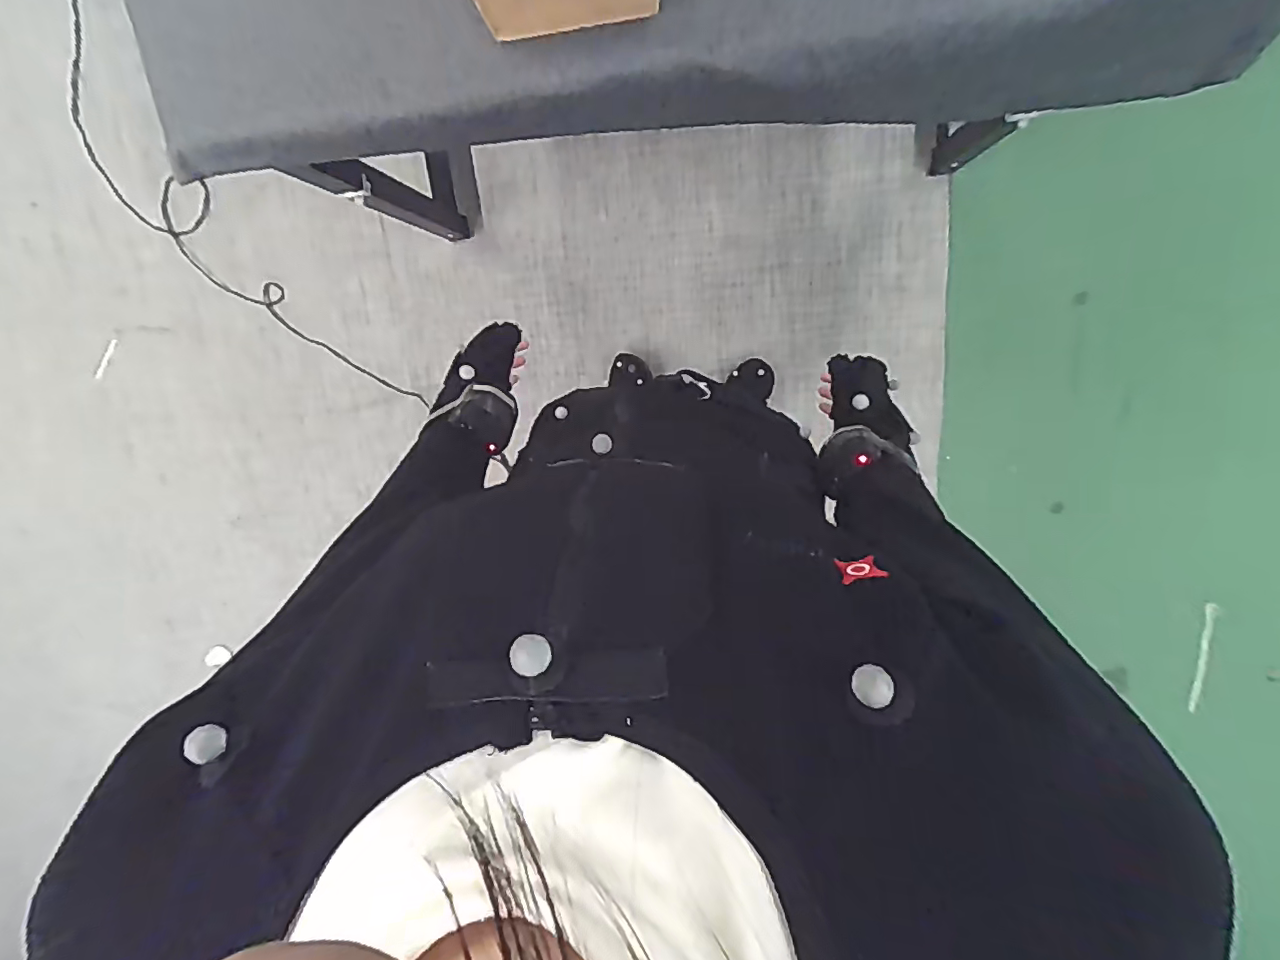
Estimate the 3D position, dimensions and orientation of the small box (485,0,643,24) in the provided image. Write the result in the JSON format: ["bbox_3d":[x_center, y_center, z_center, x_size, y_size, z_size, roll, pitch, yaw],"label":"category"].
[{"bbox_3d":[-0.082,-0.545,0.472,0.179,0.176,0.168,-4,103,6],"label":"small box"}]
